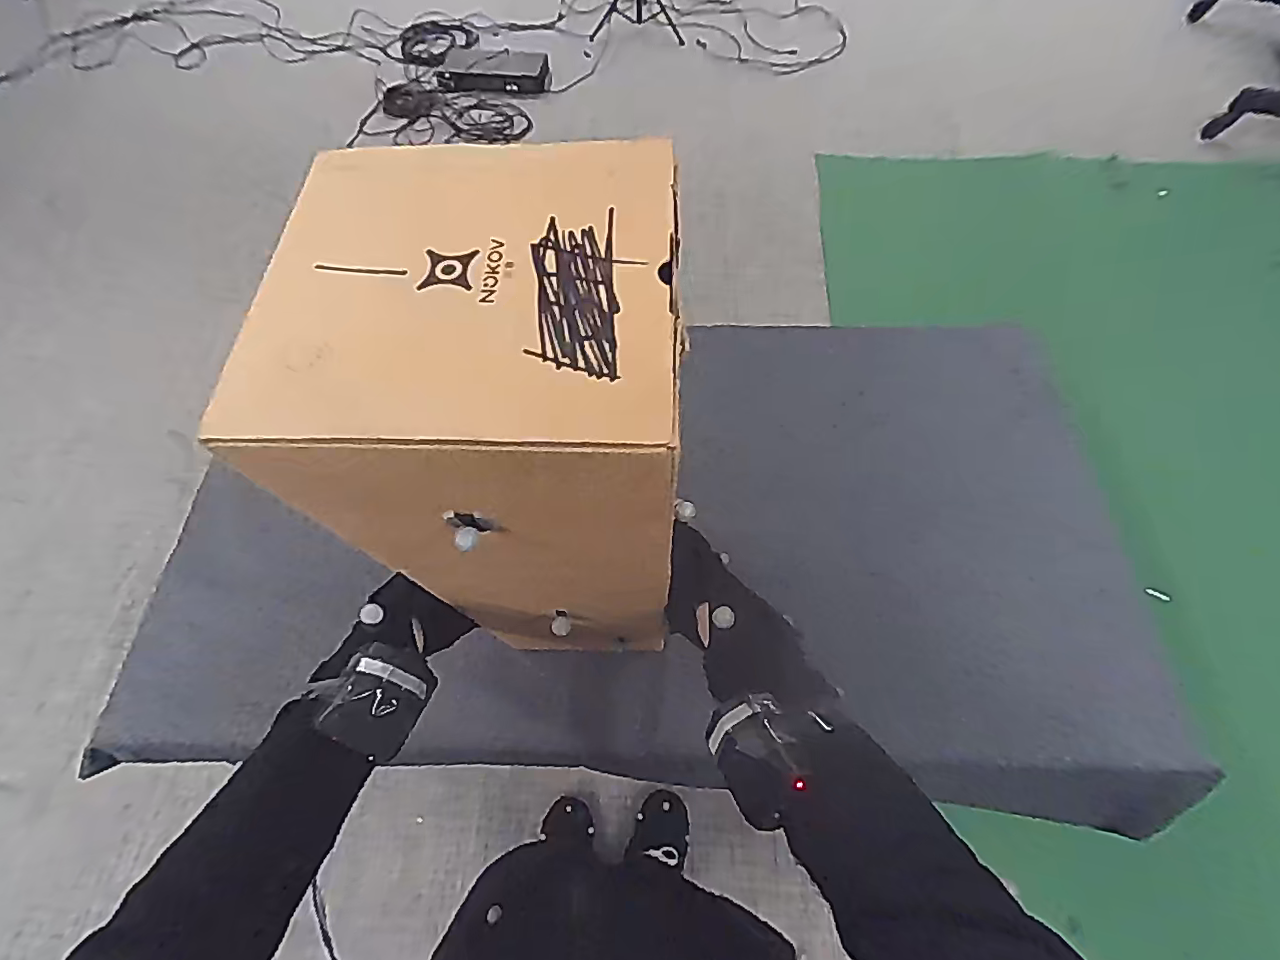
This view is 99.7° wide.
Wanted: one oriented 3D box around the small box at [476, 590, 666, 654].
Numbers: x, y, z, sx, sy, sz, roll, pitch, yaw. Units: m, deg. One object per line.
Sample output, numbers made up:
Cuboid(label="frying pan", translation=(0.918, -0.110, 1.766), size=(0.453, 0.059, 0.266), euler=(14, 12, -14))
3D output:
Cuboid(label="small box", translation=(-0.061, 0.094, 0.599), size=(0.179, 0.176, 0.168), euler=(-1, 63, 3))

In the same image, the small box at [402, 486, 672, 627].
Cuboid(label="small box", translation=(-0.067, 0.024, 0.452), size=(0.179, 0.176, 0.168), euler=(-2, 64, 1))

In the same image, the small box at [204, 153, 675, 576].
Cuboid(label="small box", translation=(-0.071, -0.049, 0.303), size=(0.179, 0.176, 0.168), euler=(0, 64, 3))
